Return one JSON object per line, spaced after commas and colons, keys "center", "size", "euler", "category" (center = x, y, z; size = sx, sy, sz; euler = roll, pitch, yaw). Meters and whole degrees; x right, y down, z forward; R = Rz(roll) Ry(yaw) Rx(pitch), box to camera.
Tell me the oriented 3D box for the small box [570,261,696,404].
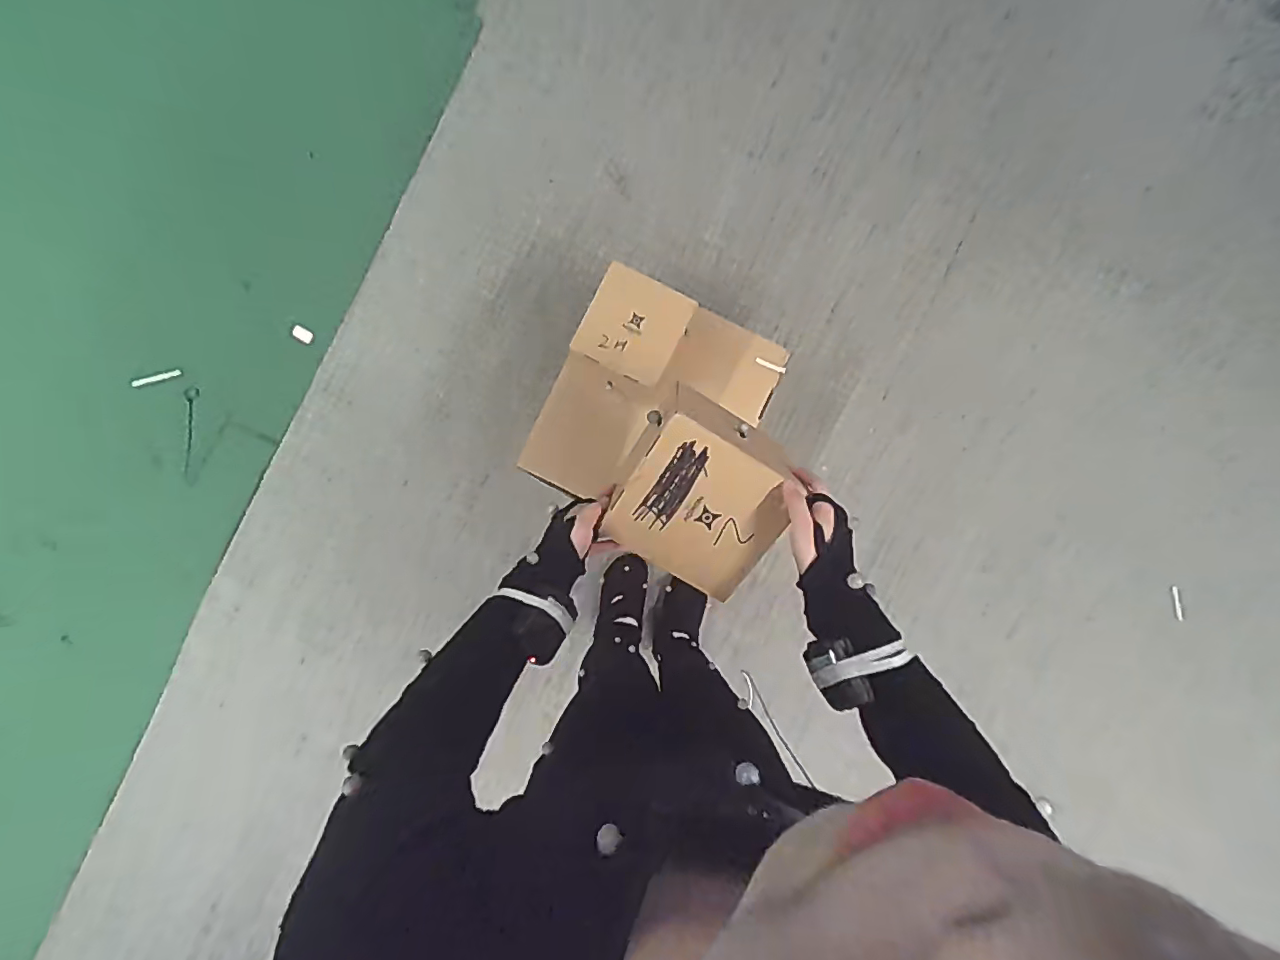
{"center": [-0.017, -0.264, 1.007], "size": [0.168, 0.176, 0.179], "euler": [26, 86, -1], "category": "small box"}
